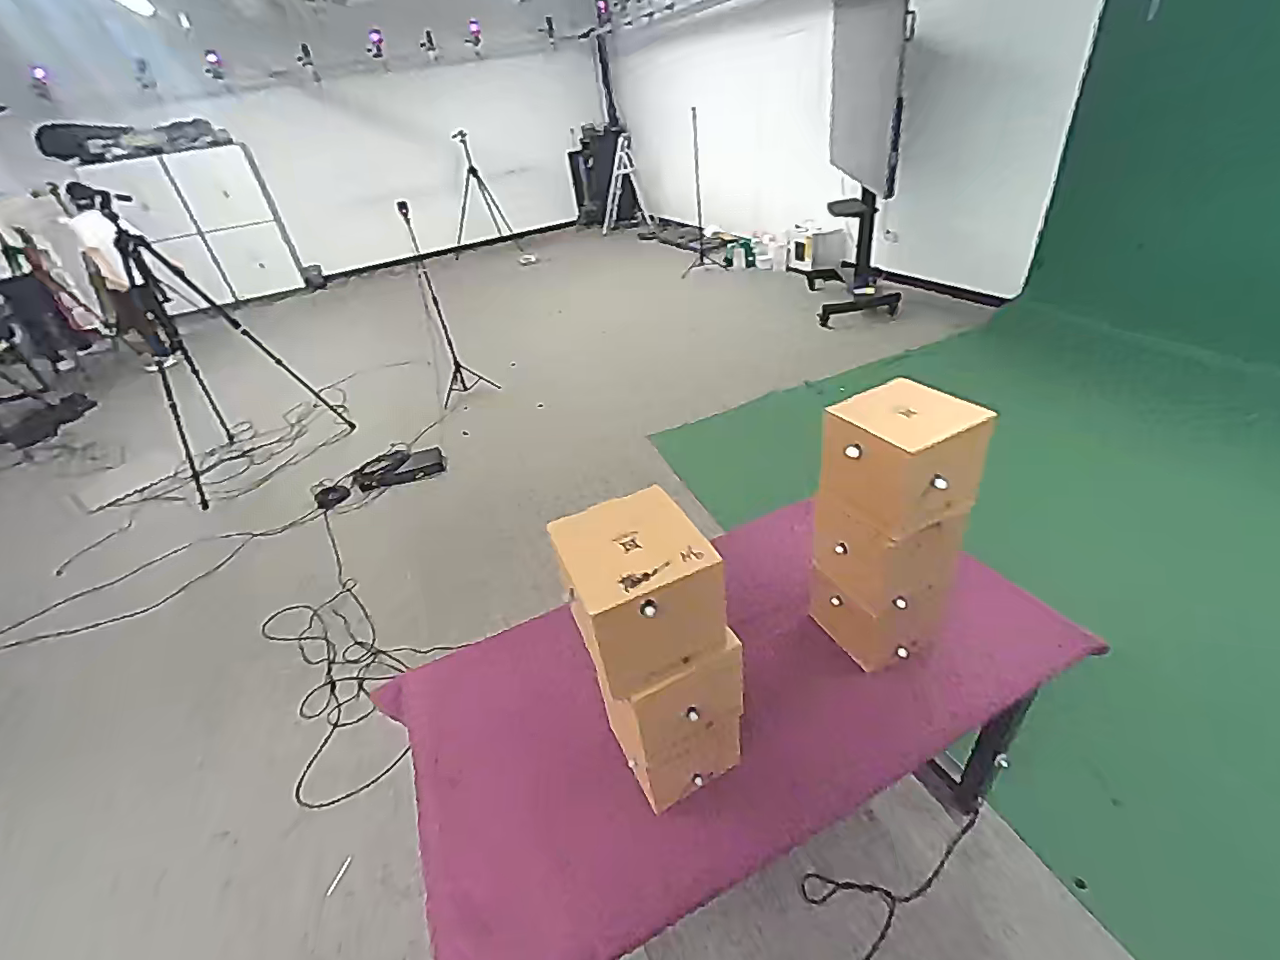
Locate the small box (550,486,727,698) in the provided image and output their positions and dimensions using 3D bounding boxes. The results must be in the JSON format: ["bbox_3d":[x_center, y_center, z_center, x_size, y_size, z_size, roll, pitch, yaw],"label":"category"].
[{"bbox_3d":[-0.002,0.140,0.699,0.168,0.176,0.179,-20,36,-15],"label":"small box"}]

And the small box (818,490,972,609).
[{"bbox_3d":[0.433,0.101,0.944,0.168,0.176,0.179,-21,34,-14],"label":"small box"}]

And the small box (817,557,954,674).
[{"bbox_3d":[0.457,0.232,1.039,0.168,0.176,0.179,-20,36,-13],"label":"small box"}]

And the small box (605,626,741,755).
[{"bbox_3d":[0.037,0.270,0.795,0.168,0.176,0.179,-22,37,-18],"label":"small box"}]

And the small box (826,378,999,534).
[{"bbox_3d":[0.419,-0.035,0.857,0.168,0.176,0.179,-22,35,-15],"label":"small box"}]
